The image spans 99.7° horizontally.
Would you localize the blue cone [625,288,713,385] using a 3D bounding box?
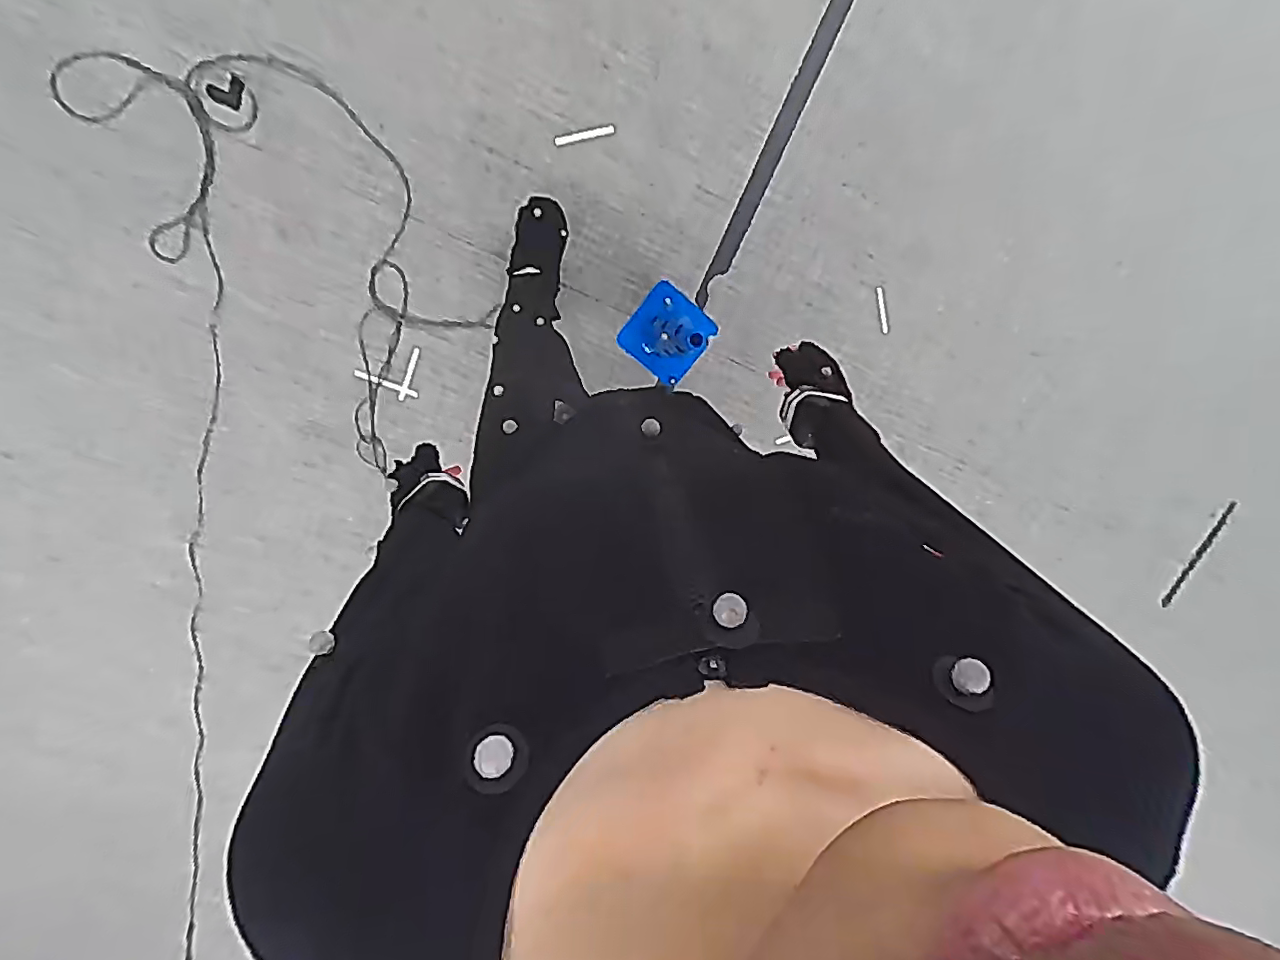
[{"bbox_3d":[0.094,-0.318,1.222,0.192,0.380,0.193,38,99,-16],"label":"blue cone"}]
